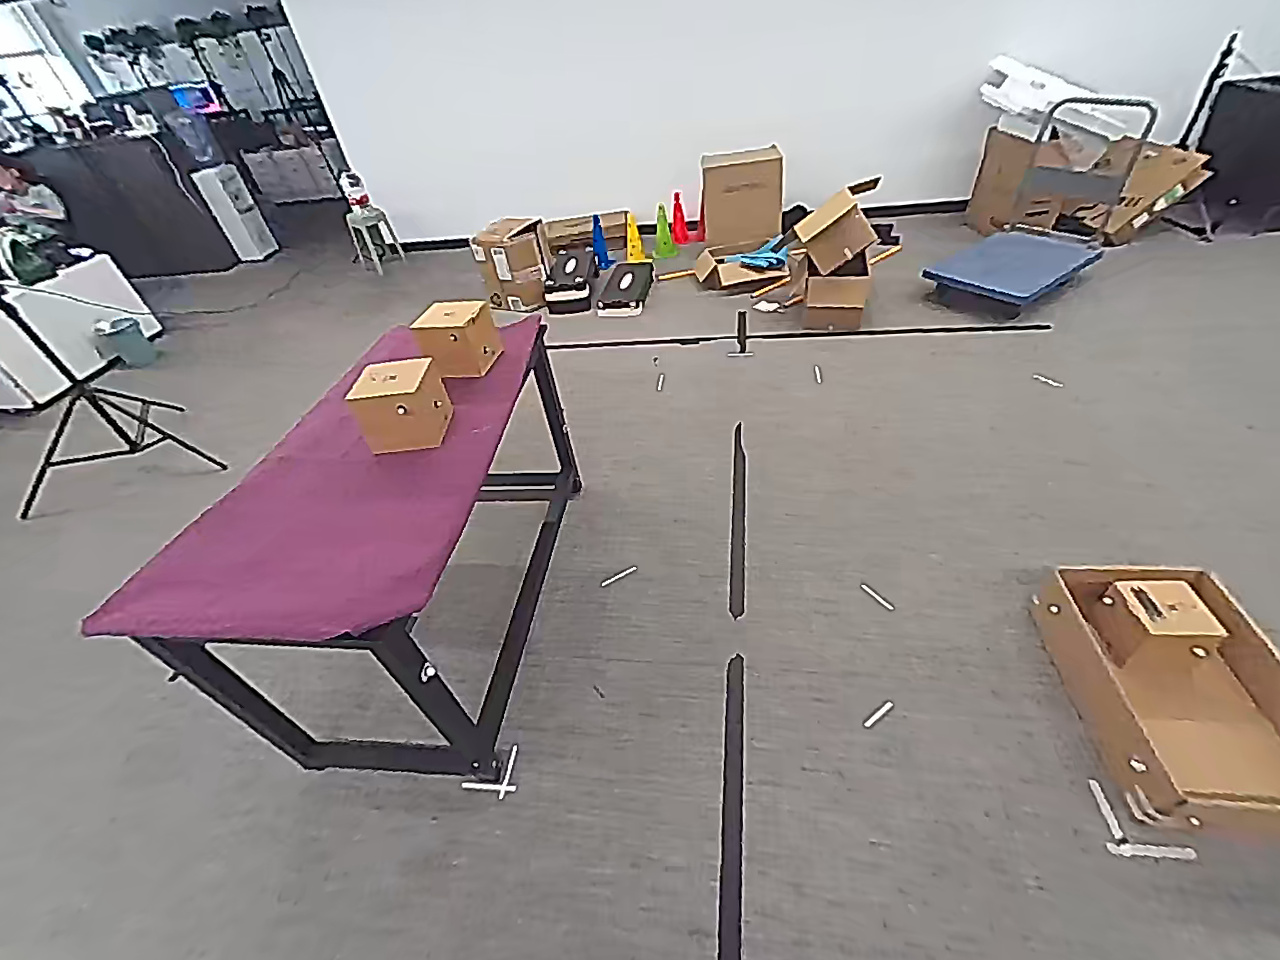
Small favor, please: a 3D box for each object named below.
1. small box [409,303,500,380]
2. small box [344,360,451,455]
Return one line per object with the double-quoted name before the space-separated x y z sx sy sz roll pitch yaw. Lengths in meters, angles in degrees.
"small box" -0.550 -0.414 1.629 0.179 0.176 0.168 2 43 13
"small box" -0.604 -0.182 1.379 0.179 0.176 0.168 -7 41 3
